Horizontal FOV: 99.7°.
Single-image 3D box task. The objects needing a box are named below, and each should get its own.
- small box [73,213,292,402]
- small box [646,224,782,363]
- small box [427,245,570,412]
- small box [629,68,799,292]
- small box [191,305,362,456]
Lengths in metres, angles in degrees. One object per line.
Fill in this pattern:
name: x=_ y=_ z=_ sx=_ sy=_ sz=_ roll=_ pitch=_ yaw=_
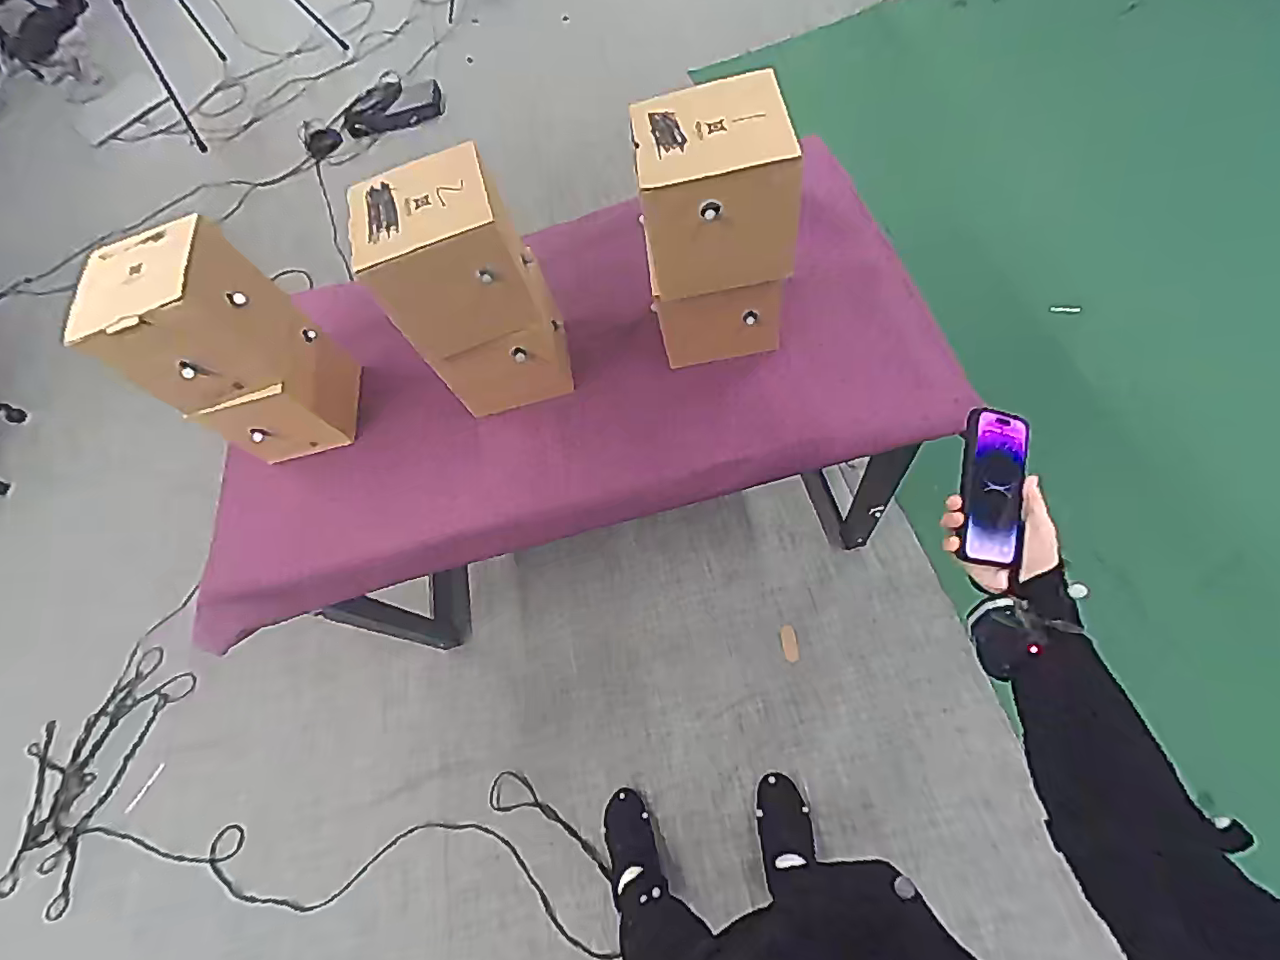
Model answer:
small box: x=-0.632 y=-0.232 z=0.773 sx=0.168 sy=0.176 sz=0.179 roll=-18 pitch=63 yaw=3
small box: x=0.113 y=-0.304 z=0.829 sx=0.179 sy=0.176 sz=0.168 roll=-9 pitch=63 yaw=9
small box: x=-0.219 y=-0.234 z=0.867 sx=0.179 sy=0.176 sz=0.168 roll=-14 pitch=63 yaw=6
small box: x=0.092 y=-0.362 z=0.677 sx=0.179 sy=0.176 sz=0.168 roll=-9 pitch=63 yaw=8
small box: x=-0.599 y=-0.157 z=0.915 sx=0.168 sy=0.176 sz=0.179 roll=-14 pitch=63 yaw=6
